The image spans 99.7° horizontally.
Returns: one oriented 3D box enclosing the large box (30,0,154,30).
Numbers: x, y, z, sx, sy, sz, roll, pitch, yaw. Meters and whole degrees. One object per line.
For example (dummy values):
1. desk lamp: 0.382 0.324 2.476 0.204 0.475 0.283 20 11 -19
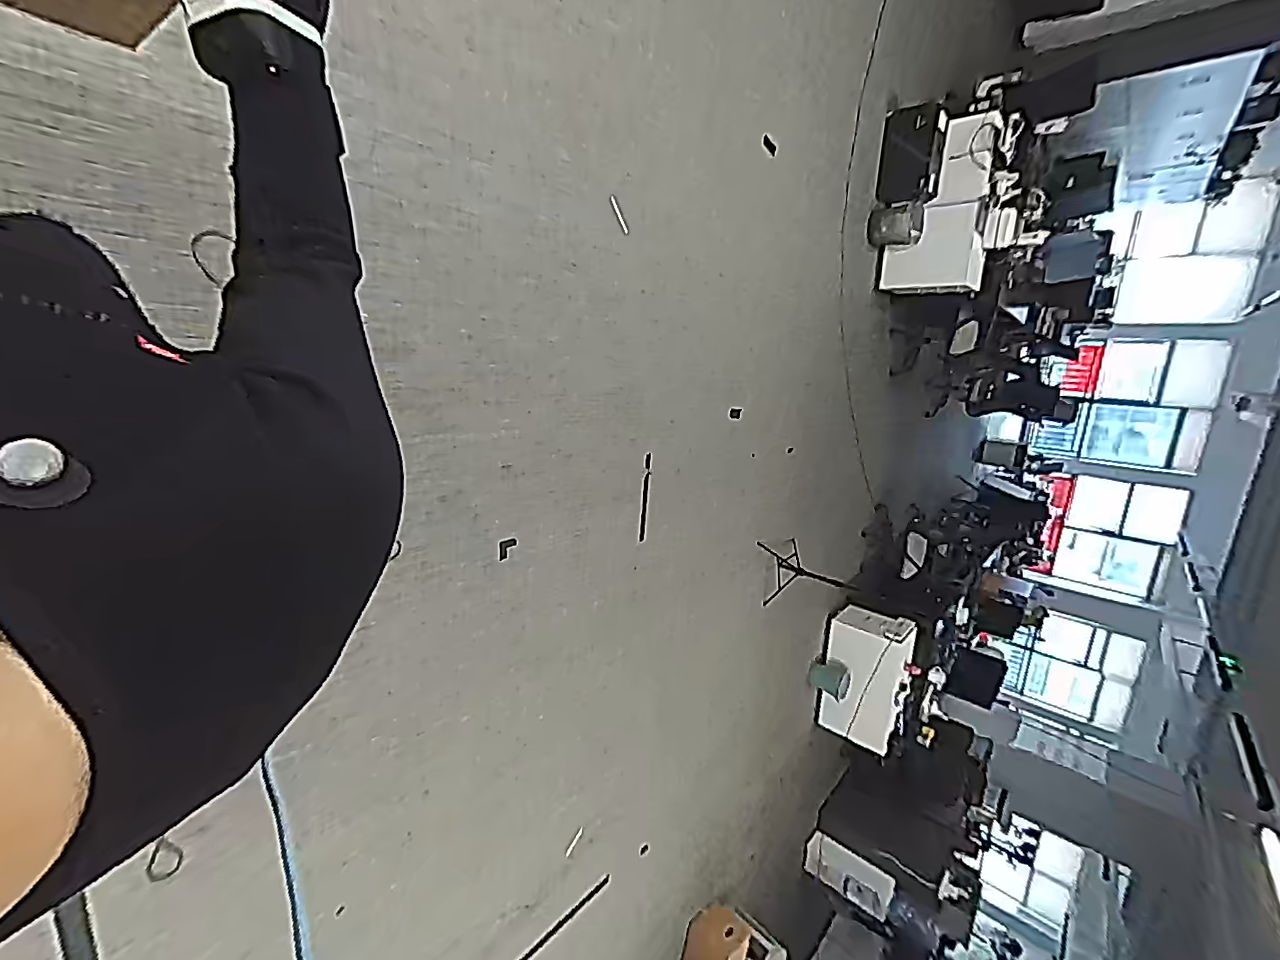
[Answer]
1. large box: -0.503 -0.515 0.258 0.408 0.320 0.320 -12 117 -50
